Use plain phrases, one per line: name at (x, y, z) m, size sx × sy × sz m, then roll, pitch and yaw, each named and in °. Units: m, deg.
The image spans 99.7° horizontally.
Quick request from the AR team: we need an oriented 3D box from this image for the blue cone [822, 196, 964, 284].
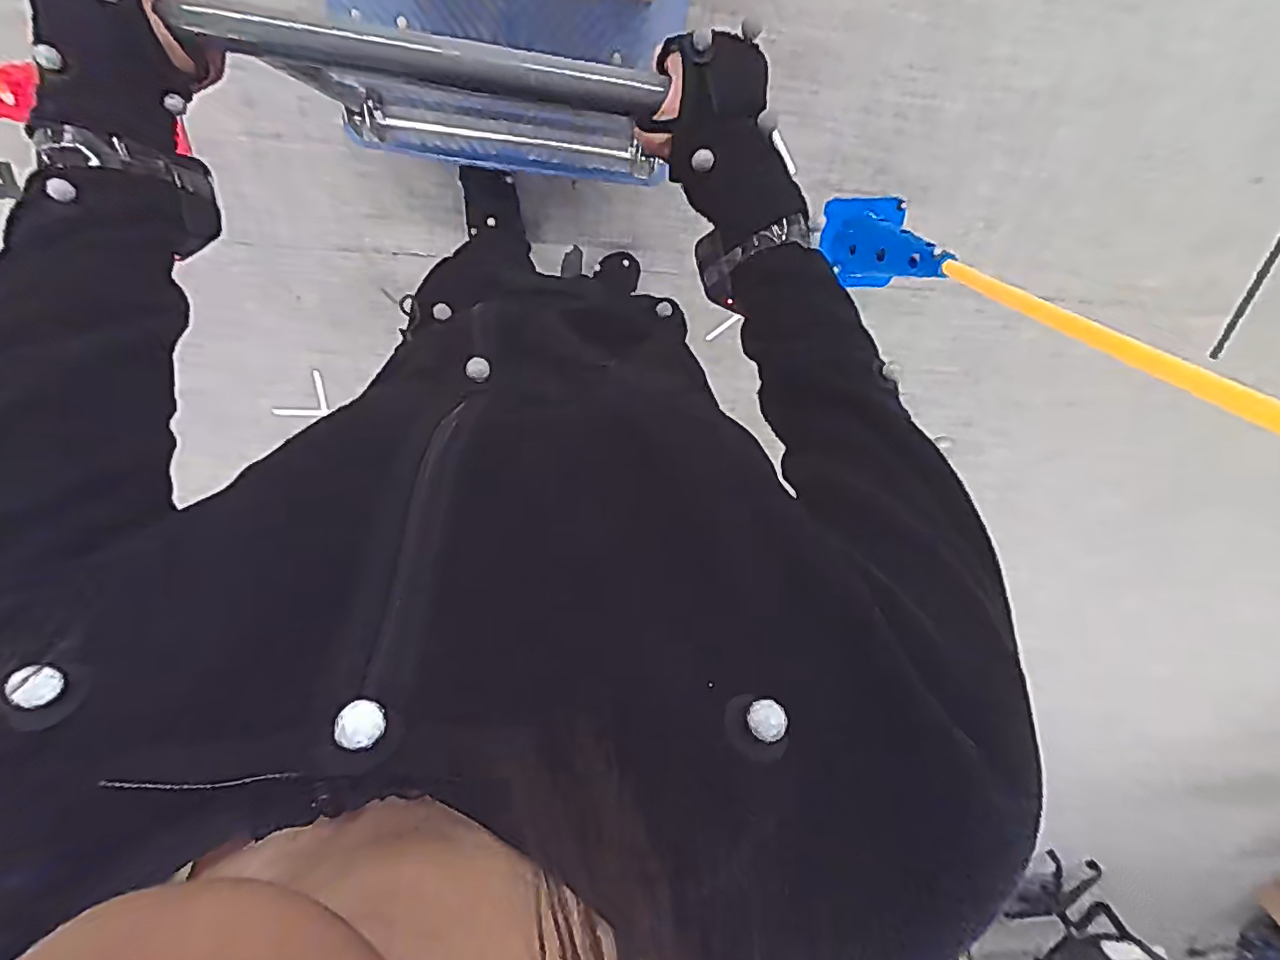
blue cone at (0.551, -0.491, 1.146) m, size 0.193 × 0.380 × 0.192 m, roll -2°, pitch 119°, yaw -6°
